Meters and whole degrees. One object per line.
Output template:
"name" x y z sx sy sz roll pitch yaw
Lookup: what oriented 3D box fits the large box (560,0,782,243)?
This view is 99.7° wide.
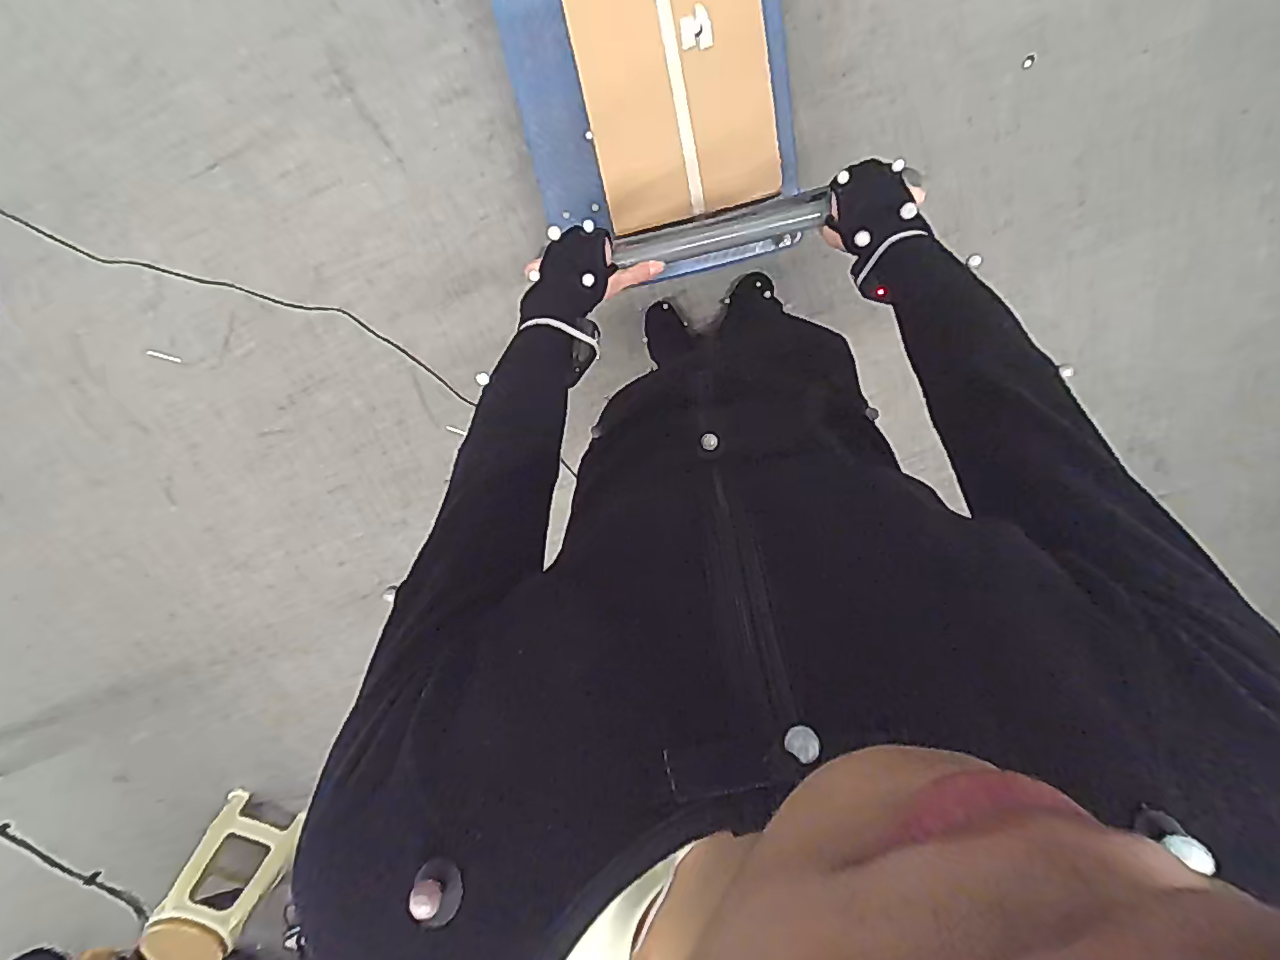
"large box" 0.062 -0.715 1.049 0.320 0.320 0.408 -12 111 4
